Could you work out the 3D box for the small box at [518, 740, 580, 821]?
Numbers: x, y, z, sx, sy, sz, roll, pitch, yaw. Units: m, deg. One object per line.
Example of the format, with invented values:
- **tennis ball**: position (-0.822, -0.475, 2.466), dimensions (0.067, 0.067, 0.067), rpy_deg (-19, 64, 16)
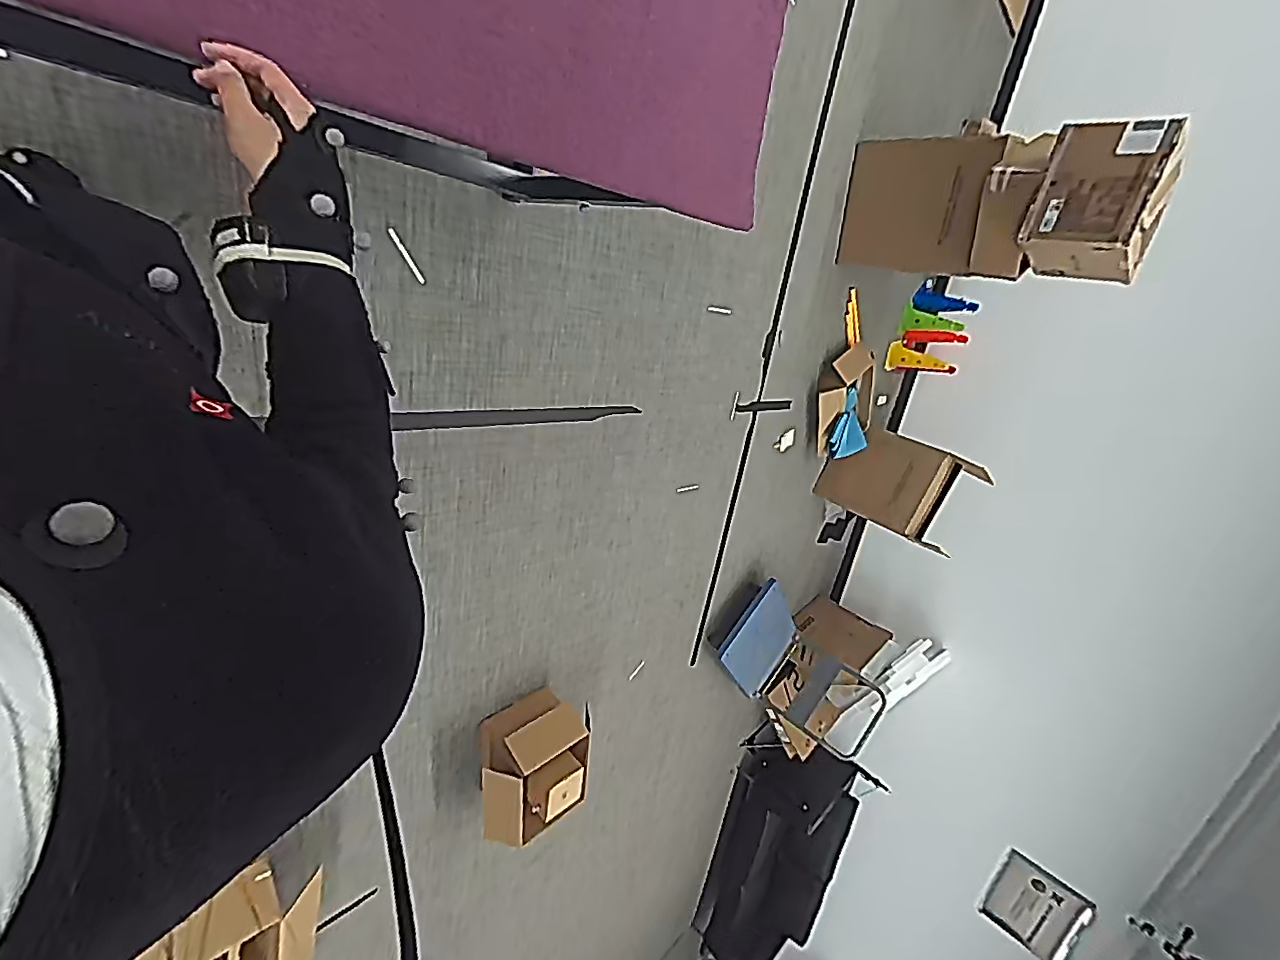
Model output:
- **small box**: position (-0.358, 1.160, 2.101), dimensions (0.168, 0.176, 0.179), rpy_deg (-14, 120, -45)
